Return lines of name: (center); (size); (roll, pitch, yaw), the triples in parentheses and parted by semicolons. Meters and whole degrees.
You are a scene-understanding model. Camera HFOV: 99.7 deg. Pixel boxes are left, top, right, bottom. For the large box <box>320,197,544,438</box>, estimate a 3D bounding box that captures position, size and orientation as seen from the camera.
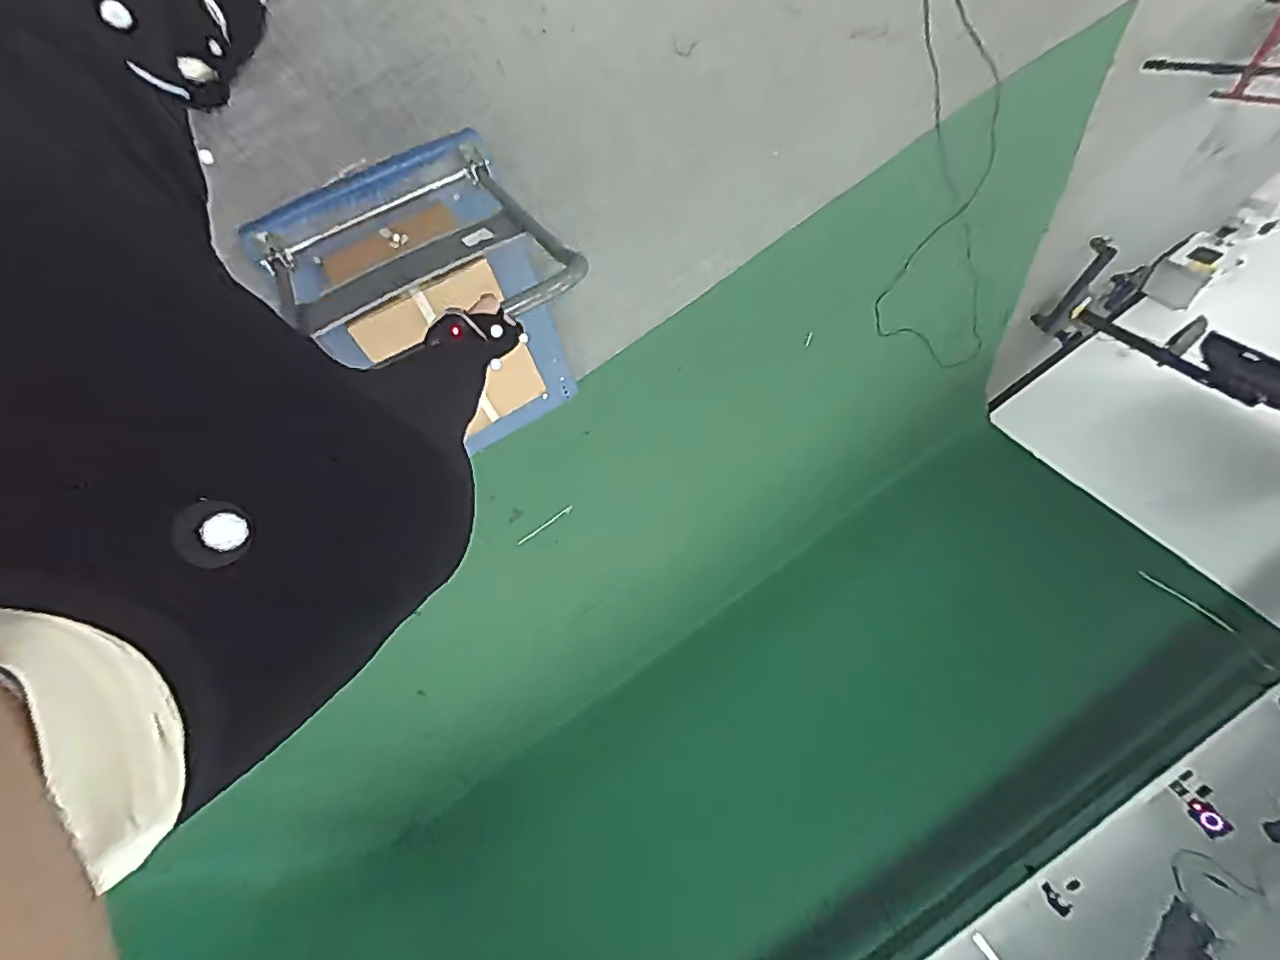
large box: (-0.492, -0.388, 1.326); (0.320, 0.320, 0.408); (-31, 147, -9)
